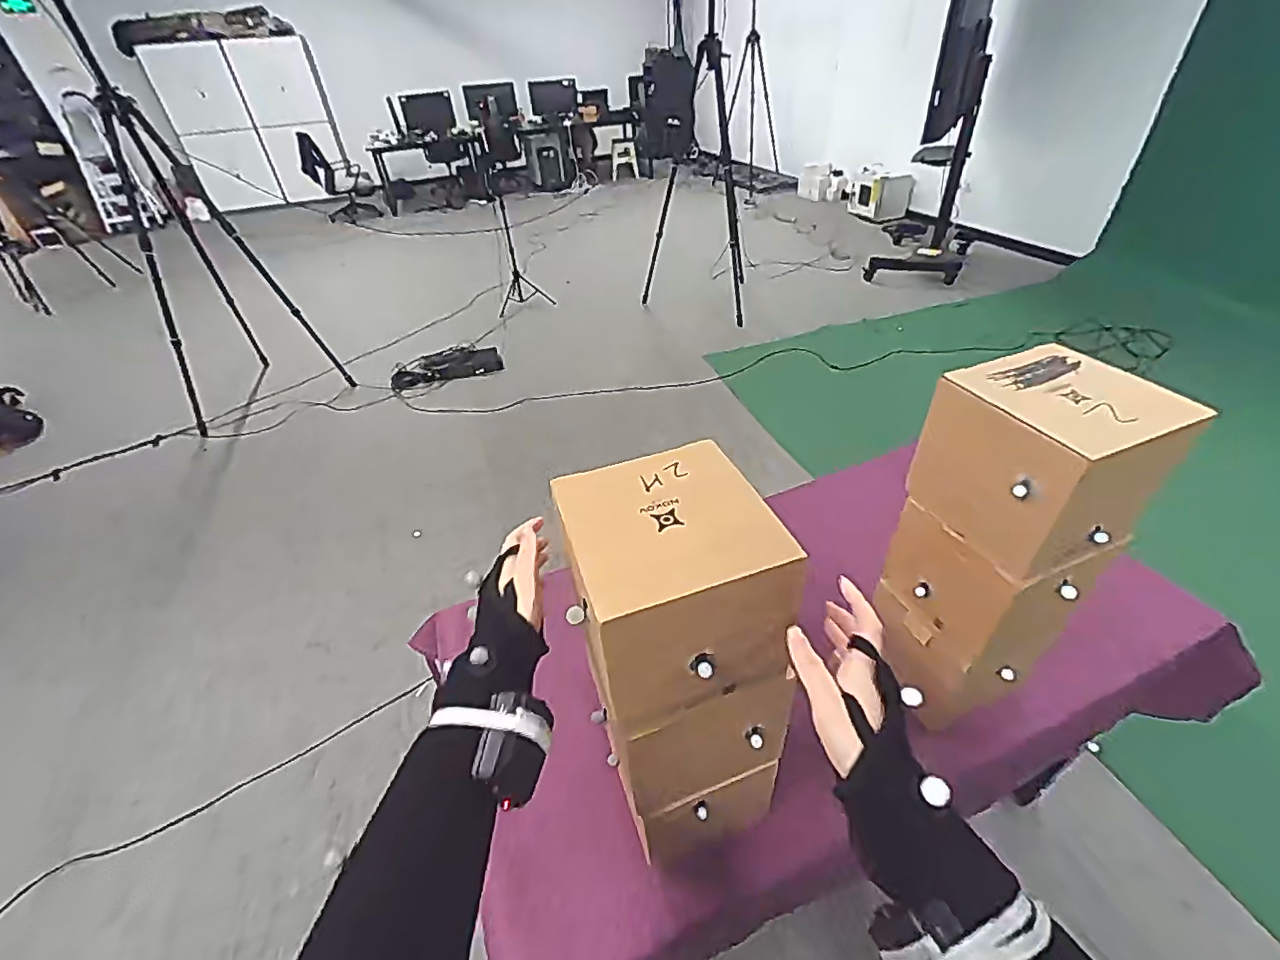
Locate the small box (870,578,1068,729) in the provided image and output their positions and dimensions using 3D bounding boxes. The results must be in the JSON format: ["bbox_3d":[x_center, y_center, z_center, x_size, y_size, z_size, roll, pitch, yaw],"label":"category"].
[{"bbox_3d":[0.467,0.235,0.802,0.179,0.176,0.168,-16,40,-14],"label":"small box"}]

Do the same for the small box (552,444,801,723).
[{"bbox_3d":[0.027,0.097,0.502,0.168,0.176,0.179,-14,39,-12],"label":"small box"}]

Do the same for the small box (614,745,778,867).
[{"bbox_3d":[0.058,0.354,0.703,0.168,0.176,0.179,-16,39,-12],"label":"small box"}]

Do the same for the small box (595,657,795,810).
[{"bbox_3d":[0.047,0.226,0.602,0.179,0.176,0.168,-16,39,-12],"label":"small box"}]

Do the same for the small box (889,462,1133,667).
[{"bbox_3d":[0.458,0.108,0.701,0.179,0.176,0.168,-18,41,-13],"label":"small box"}]
